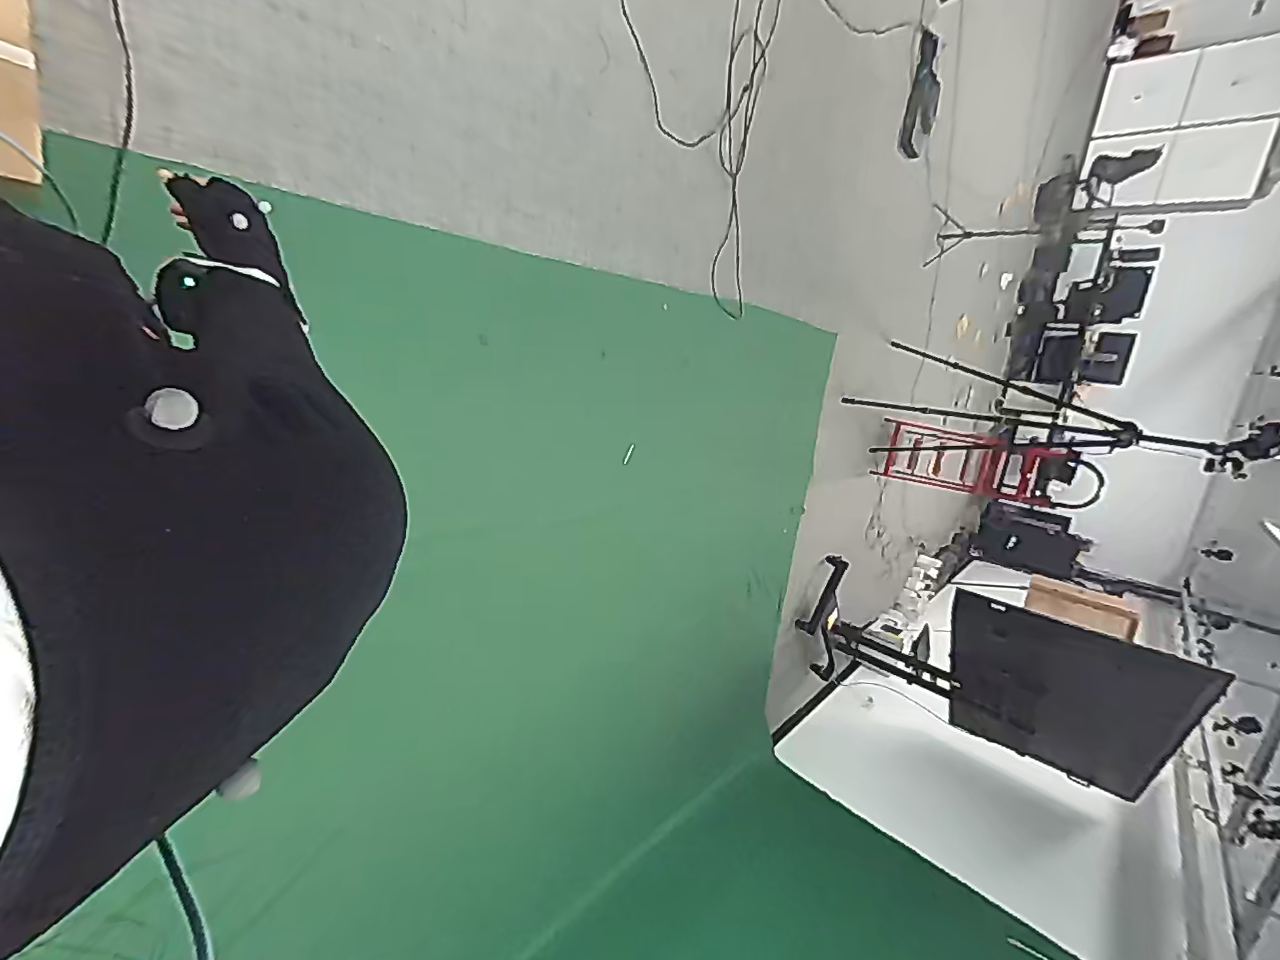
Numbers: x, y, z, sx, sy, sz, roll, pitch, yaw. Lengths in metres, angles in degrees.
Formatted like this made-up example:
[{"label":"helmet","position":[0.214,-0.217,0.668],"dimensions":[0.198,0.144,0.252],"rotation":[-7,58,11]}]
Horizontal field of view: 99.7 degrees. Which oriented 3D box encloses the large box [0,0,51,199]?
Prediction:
[{"label":"large box","position":[-1.070,-0.594,0.691],"dimensions":[0.408,0.320,0.320],"rotation":[-6,109,-48]}]
